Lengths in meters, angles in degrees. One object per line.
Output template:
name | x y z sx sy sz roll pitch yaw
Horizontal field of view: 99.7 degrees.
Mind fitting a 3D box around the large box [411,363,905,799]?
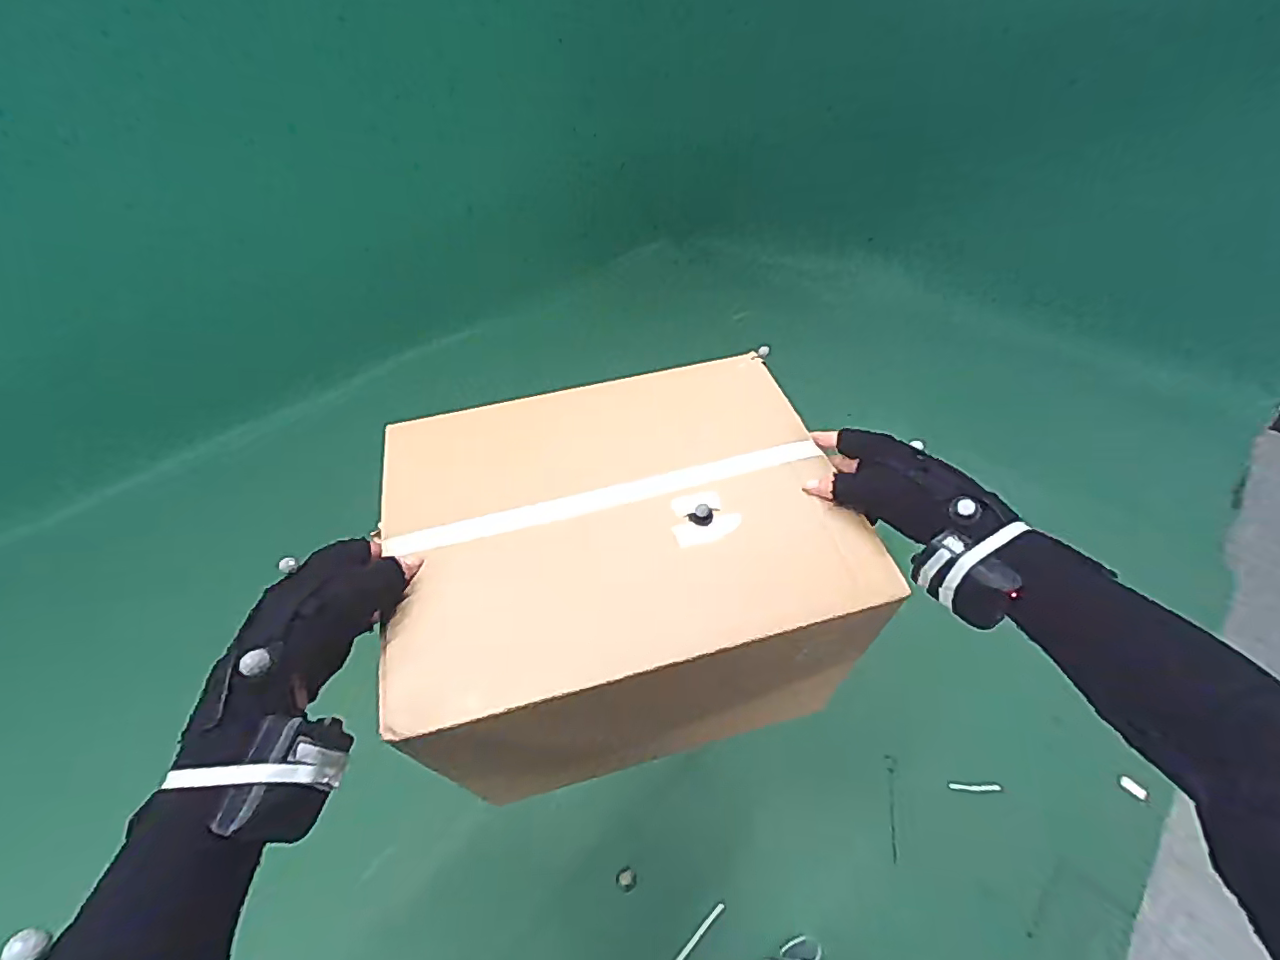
large box | -0.008 0.114 0.618 0.408 0.320 0.320 -12 53 -9
